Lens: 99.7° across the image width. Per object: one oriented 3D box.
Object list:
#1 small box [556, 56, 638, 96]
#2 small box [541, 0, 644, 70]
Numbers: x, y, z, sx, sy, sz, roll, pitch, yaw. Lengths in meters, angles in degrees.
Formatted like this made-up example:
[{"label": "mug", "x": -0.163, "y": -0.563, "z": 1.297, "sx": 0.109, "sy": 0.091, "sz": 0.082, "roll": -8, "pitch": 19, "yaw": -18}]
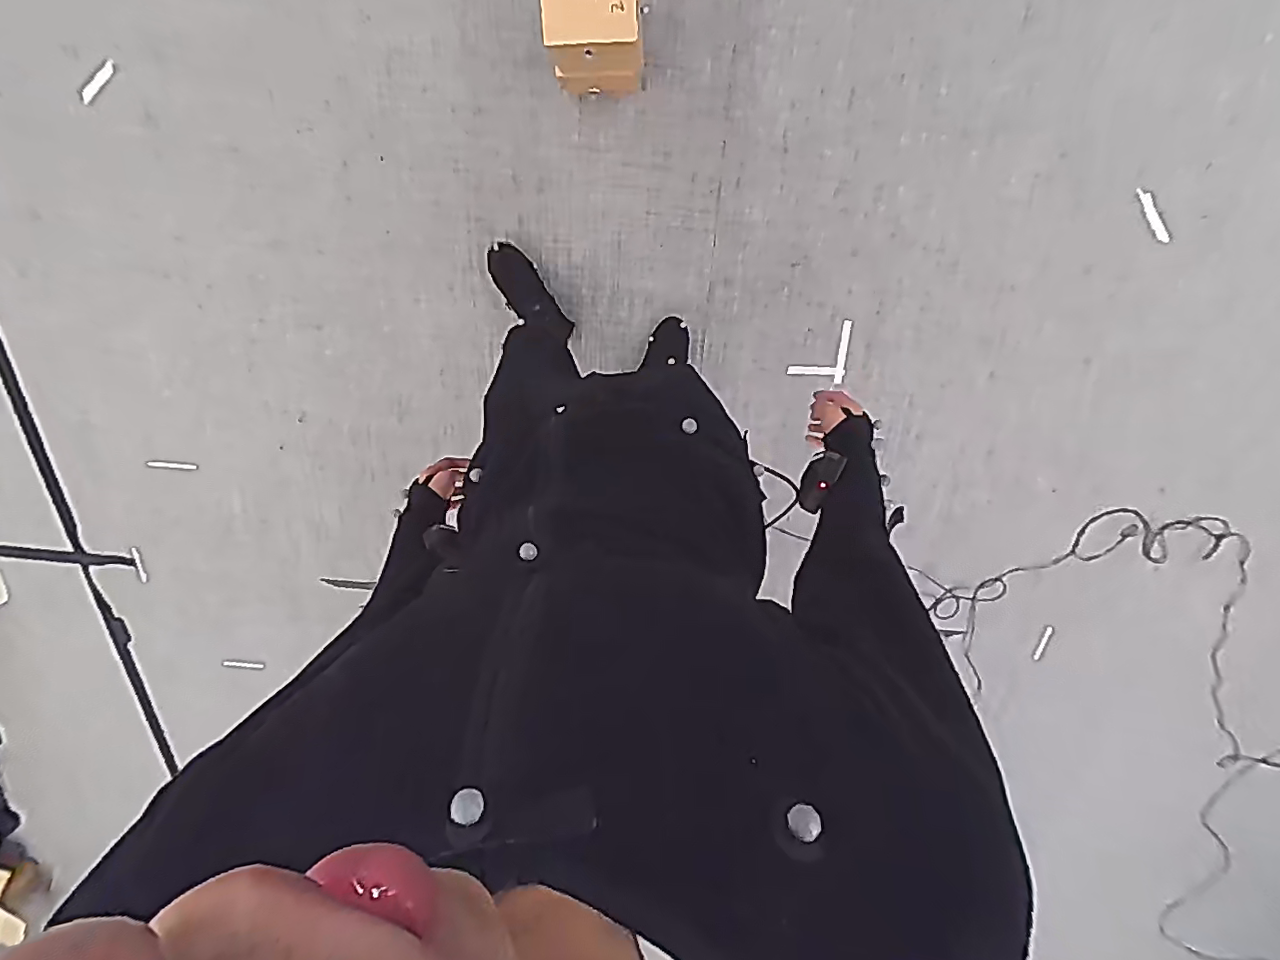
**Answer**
[{"label": "small box", "x": -0.090, "y": -0.959, "z": 1.170, "sx": 0.168, "sy": 0.176, "sz": 0.179, "roll": 1, "pitch": 114, "yaw": 3}, {"label": "small box", "x": -0.084, "y": -0.896, "z": 1.018, "sx": 0.179, "sy": 0.176, "sz": 0.168, "roll": 0, "pitch": 113, "yaw": 3}]
